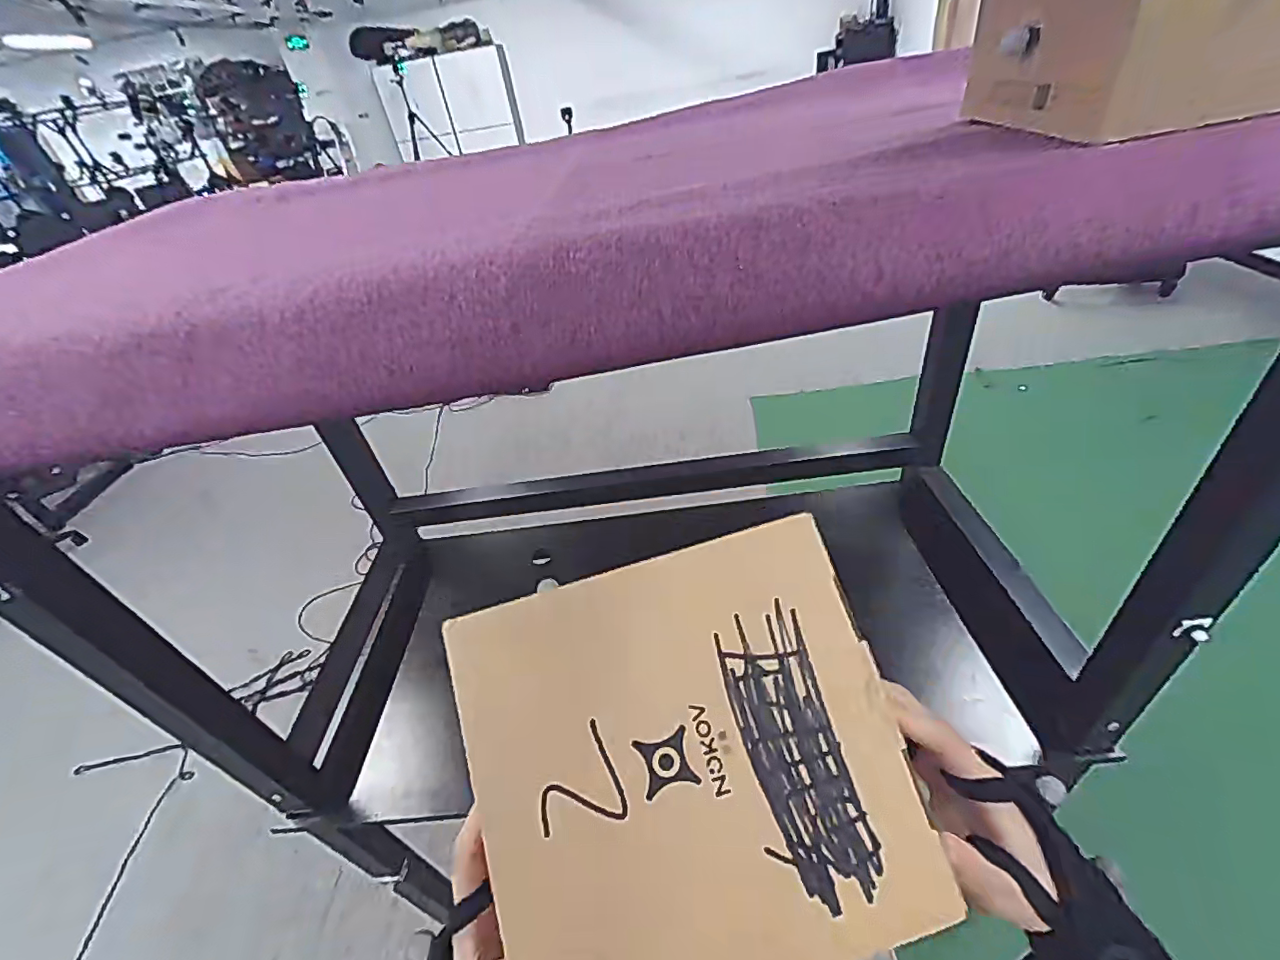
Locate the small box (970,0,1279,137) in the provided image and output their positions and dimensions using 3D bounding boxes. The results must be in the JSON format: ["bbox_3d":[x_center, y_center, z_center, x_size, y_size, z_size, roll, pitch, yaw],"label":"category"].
[{"bbox_3d":[0.328,-0.319,0.309,0.179,0.176,0.168,-8,38,7],"label":"small box"}]
